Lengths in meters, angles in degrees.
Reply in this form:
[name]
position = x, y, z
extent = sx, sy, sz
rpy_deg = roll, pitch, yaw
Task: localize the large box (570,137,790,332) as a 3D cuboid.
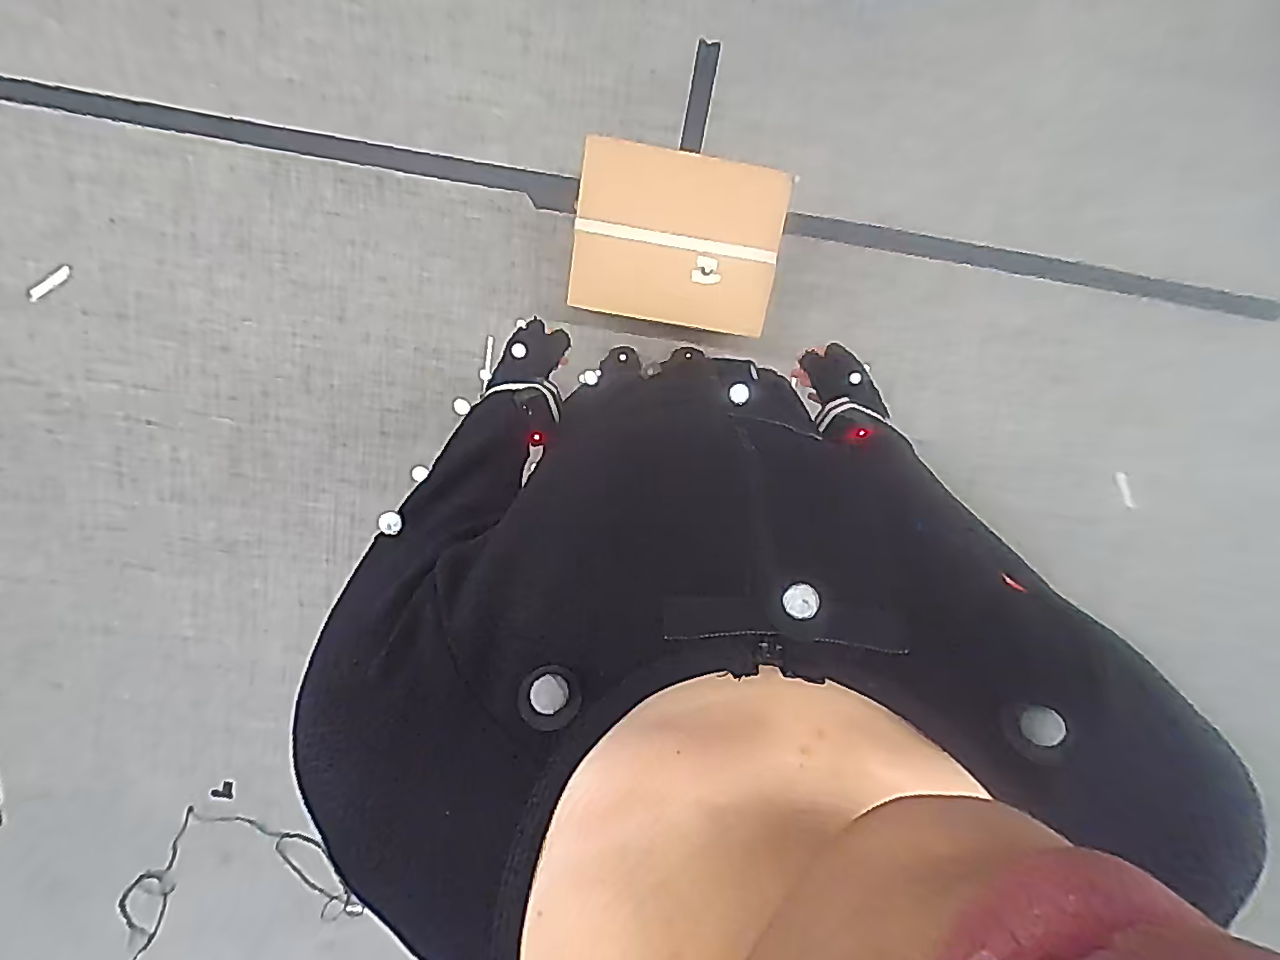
[large box]
position = 0.066, -0.516, 1.210
extent = 0.408, 0.320, 0.320
rpy_deg = 8, 107, -5
